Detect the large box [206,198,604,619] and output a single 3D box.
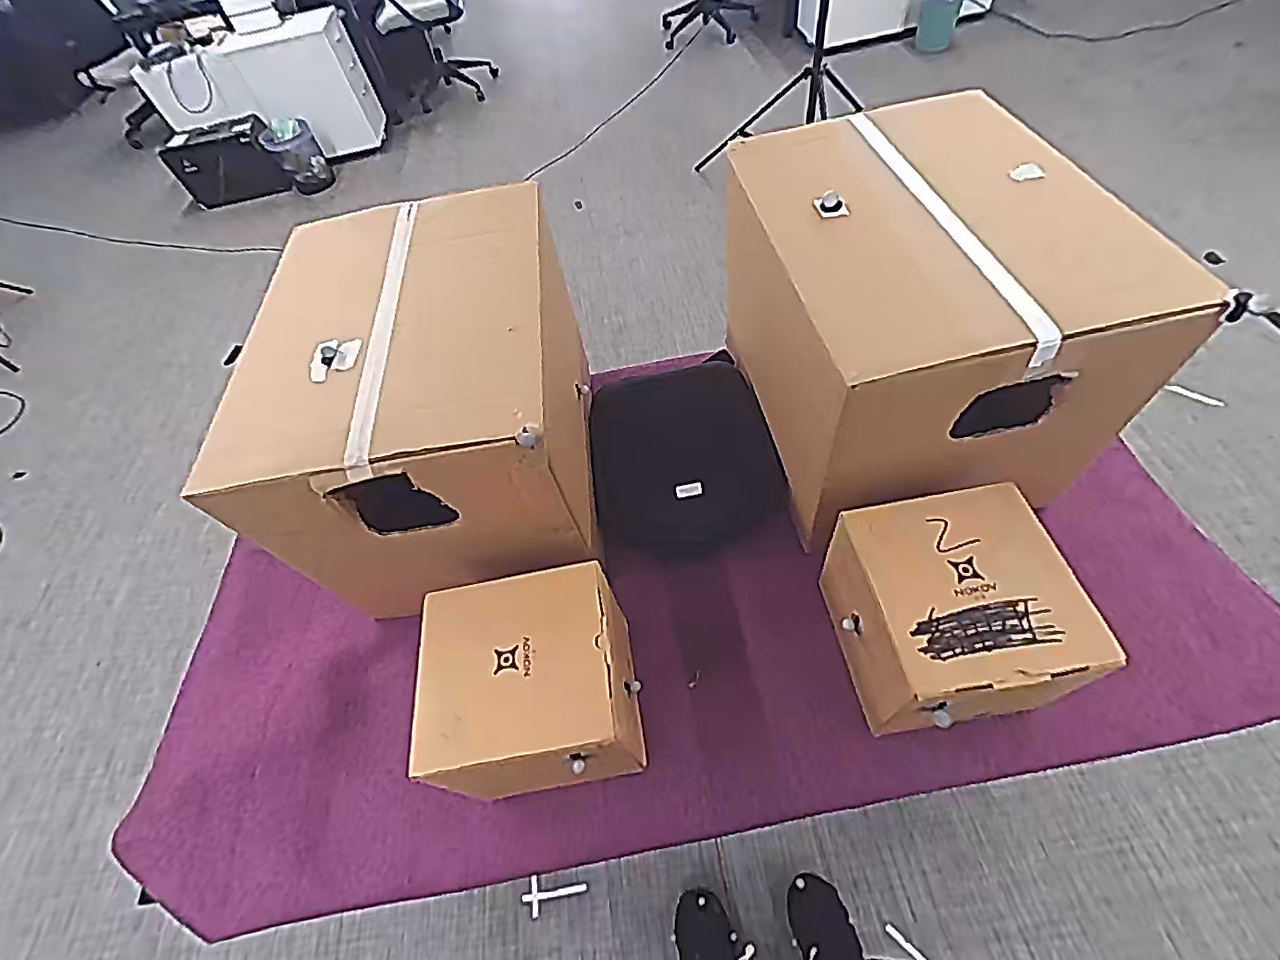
[{"bbox_3d":[-0.238,-0.082,0.692,0.320,0.320,0.408,-11,58,3],"label":"large box"}]
